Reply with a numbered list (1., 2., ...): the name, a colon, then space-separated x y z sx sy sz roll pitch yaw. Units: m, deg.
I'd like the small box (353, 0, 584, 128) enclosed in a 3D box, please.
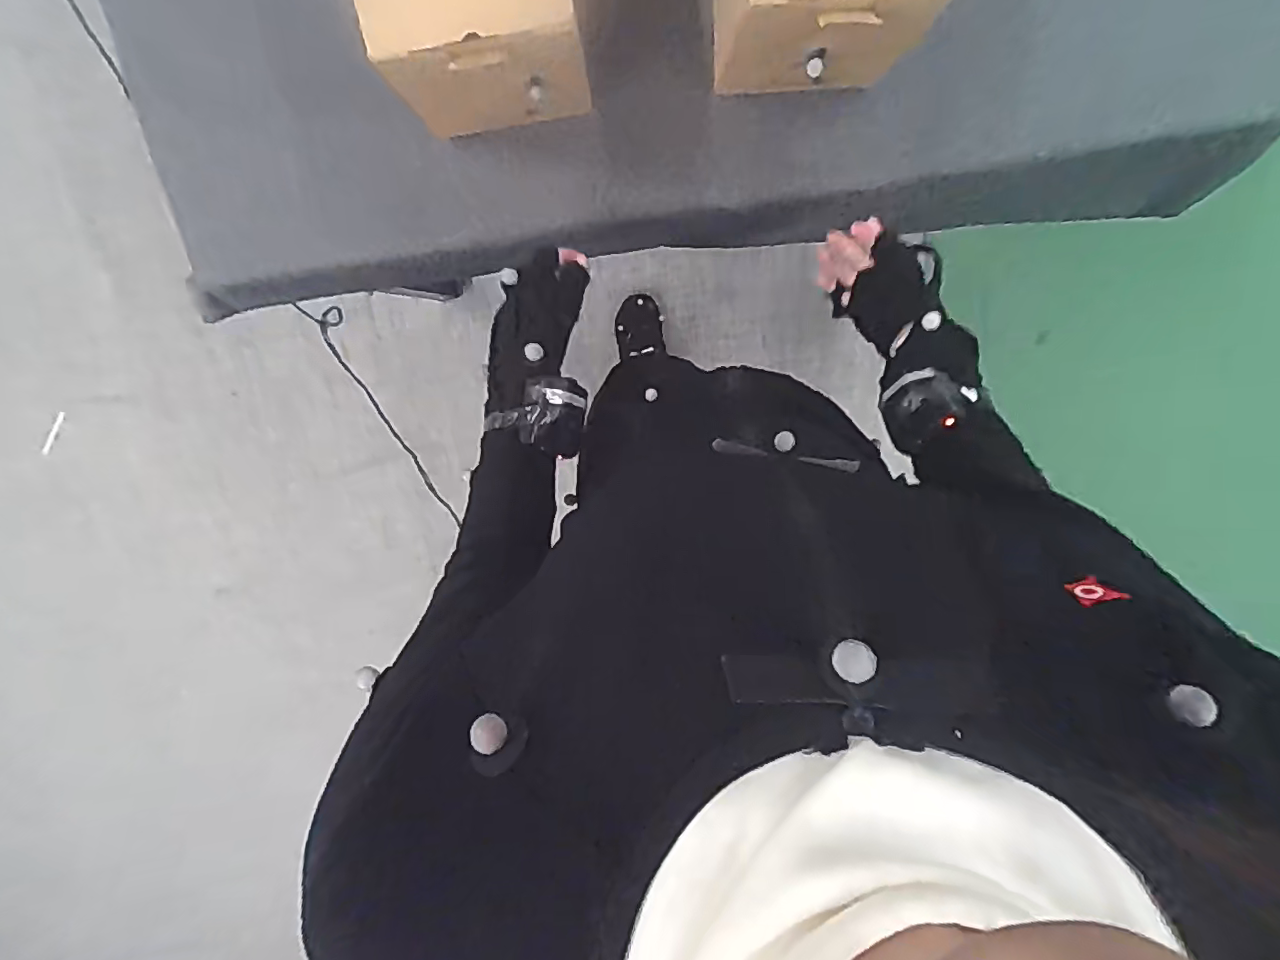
1. small box: -0.149 -0.444 0.483 0.168 0.176 0.179 -10 104 1
